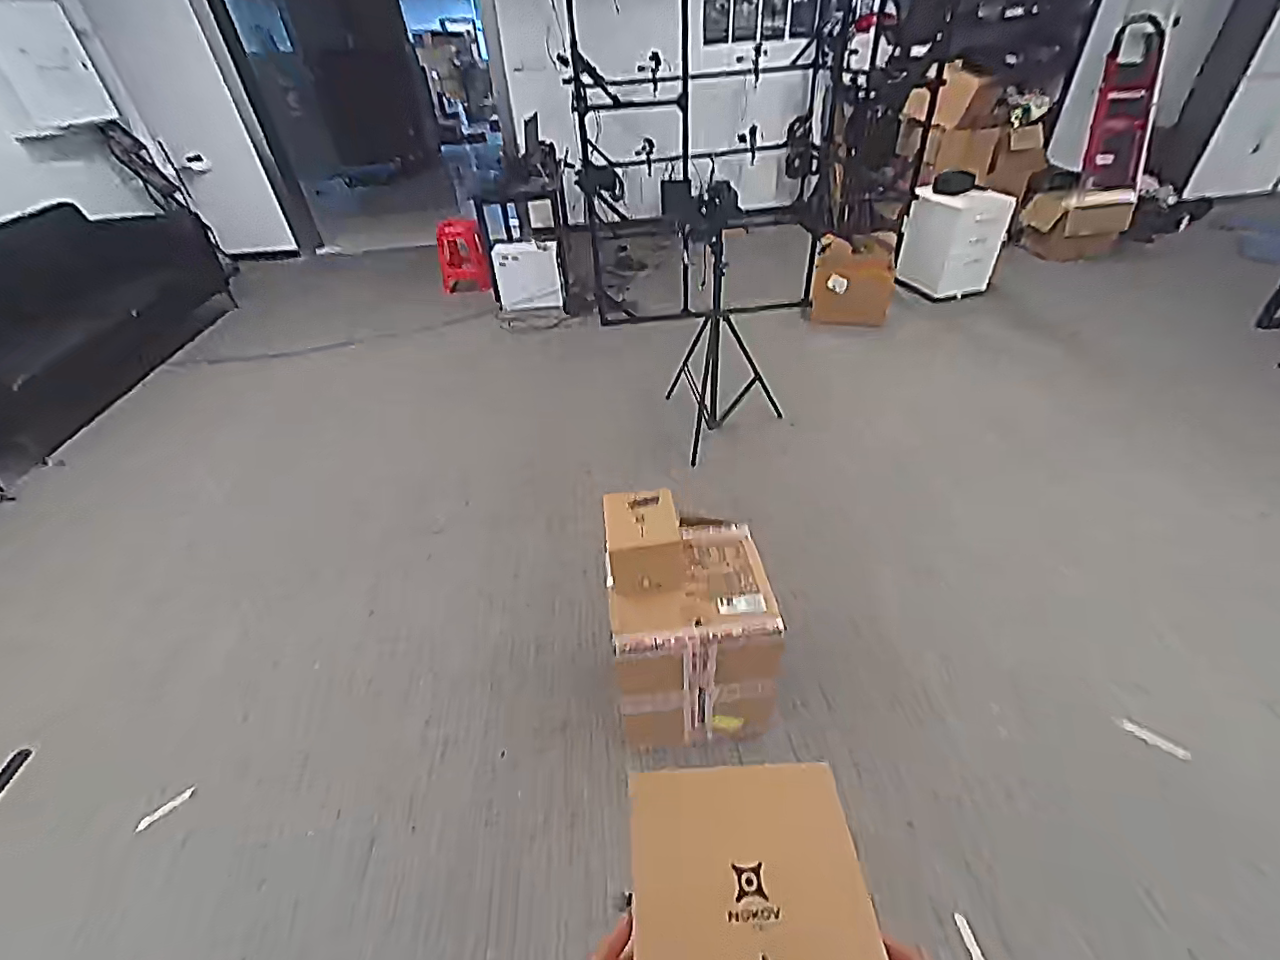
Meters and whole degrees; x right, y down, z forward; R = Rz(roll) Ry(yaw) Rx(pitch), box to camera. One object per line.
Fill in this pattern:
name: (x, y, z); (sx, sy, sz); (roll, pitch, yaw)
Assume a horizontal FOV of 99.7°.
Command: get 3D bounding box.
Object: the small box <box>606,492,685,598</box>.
small box: (0.012, 0.156, 1.290); (0.168, 0.176, 0.179); (-8, 42, -1)
